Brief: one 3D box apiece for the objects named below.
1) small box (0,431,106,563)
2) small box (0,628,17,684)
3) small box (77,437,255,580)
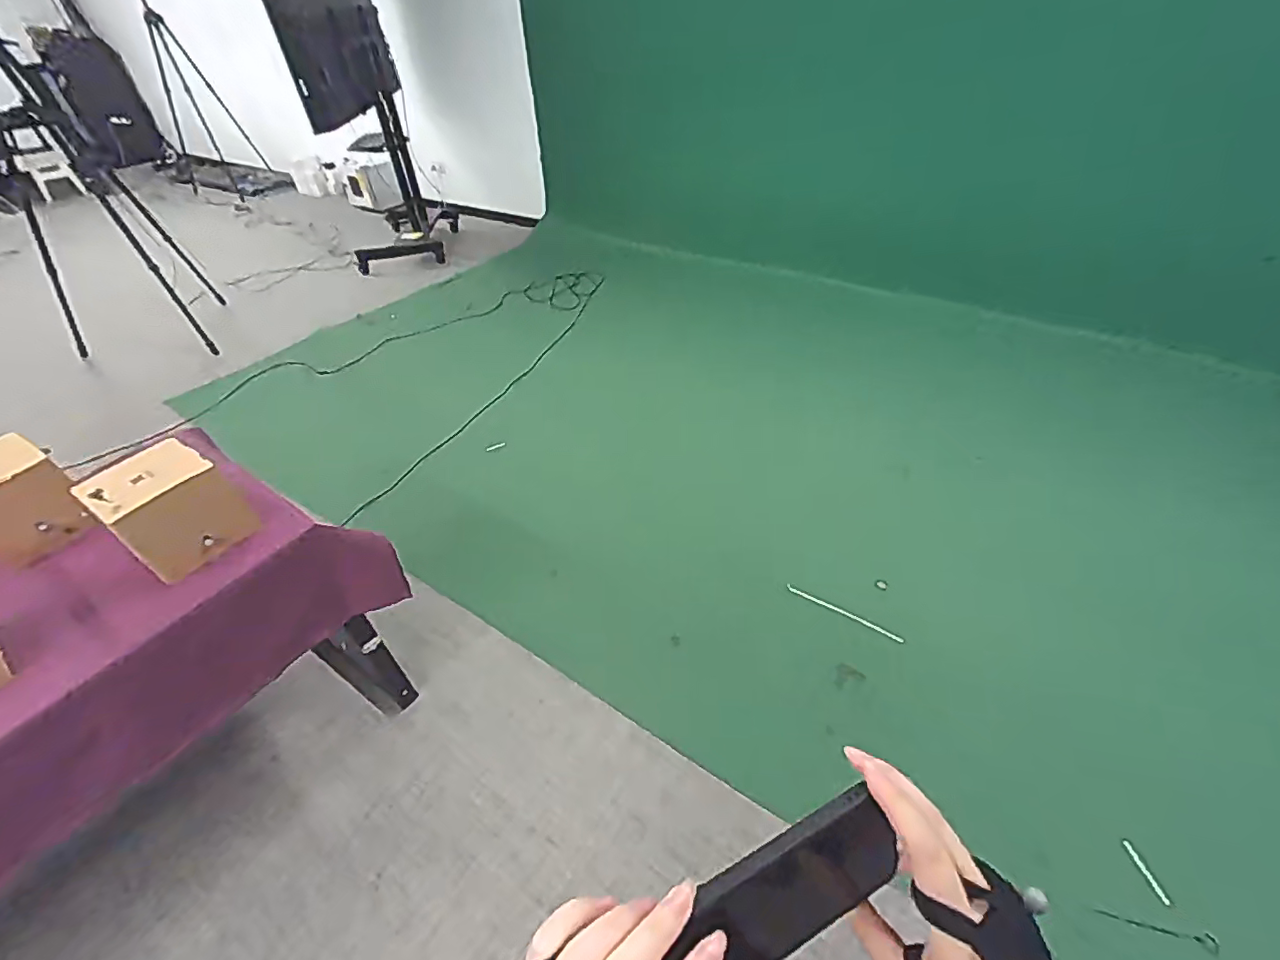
[{"bbox_3d":[-1.219,0.035,1.061,0.179,0.176,0.168,22,48,24],"label":"small box"},{"bbox_3d":[-1.114,0.270,0.801,0.168,0.176,0.179,26,49,28],"label":"small box"},{"bbox_3d":[-0.876,0.052,1.022,0.168,0.176,0.179,22,48,26],"label":"small box"}]
